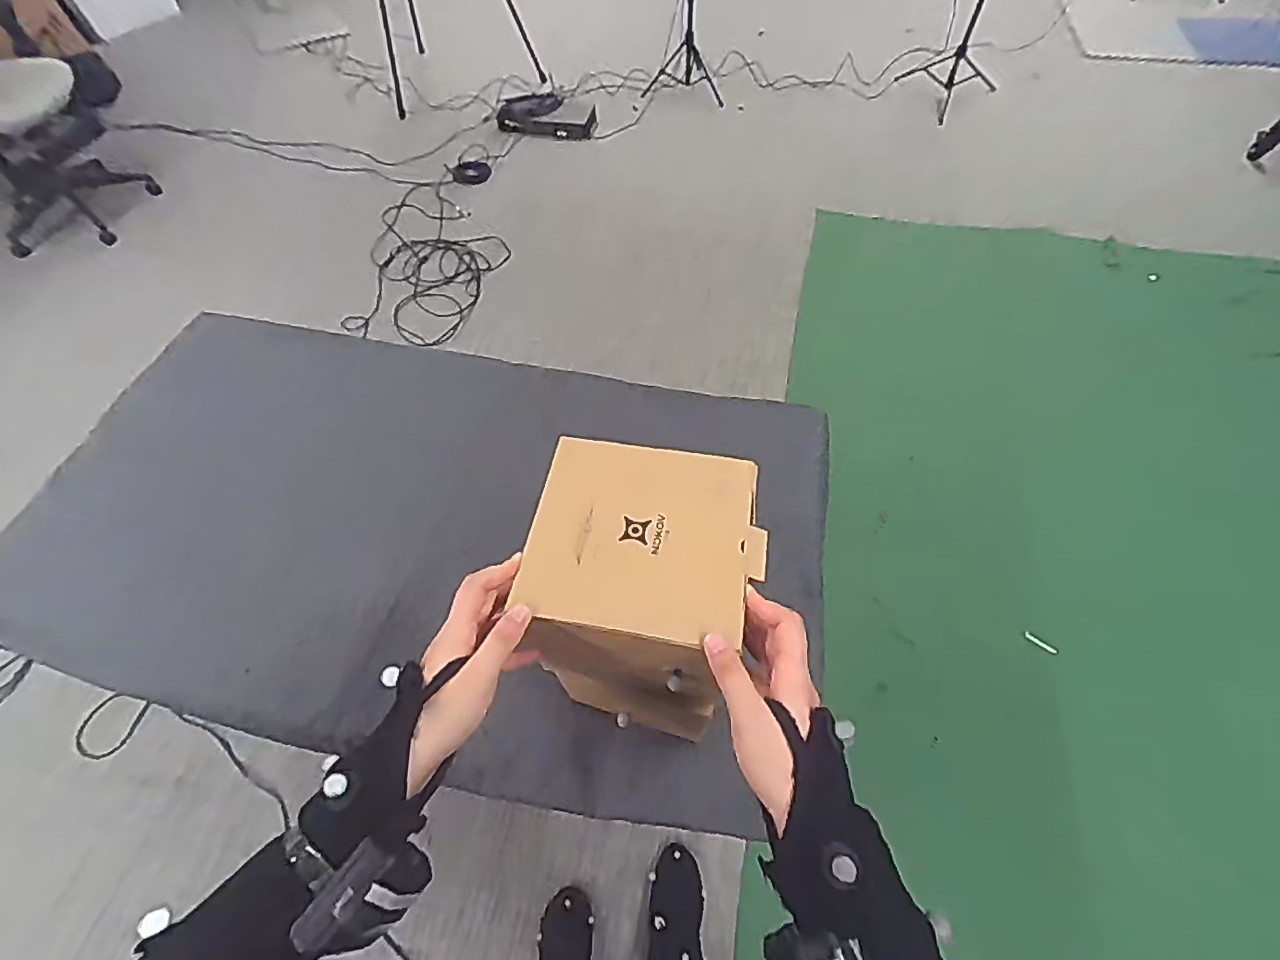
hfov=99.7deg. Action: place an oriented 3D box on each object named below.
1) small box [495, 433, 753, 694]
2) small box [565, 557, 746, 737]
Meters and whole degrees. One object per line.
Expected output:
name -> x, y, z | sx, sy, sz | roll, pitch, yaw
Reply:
small box -> -0.002, 0.081, 0.485 | 0.179, 0.176, 0.168 | 7, 56, 8
small box -> 0.013, 0.171, 0.620 | 0.168, 0.176, 0.179 | 14, 59, 12
